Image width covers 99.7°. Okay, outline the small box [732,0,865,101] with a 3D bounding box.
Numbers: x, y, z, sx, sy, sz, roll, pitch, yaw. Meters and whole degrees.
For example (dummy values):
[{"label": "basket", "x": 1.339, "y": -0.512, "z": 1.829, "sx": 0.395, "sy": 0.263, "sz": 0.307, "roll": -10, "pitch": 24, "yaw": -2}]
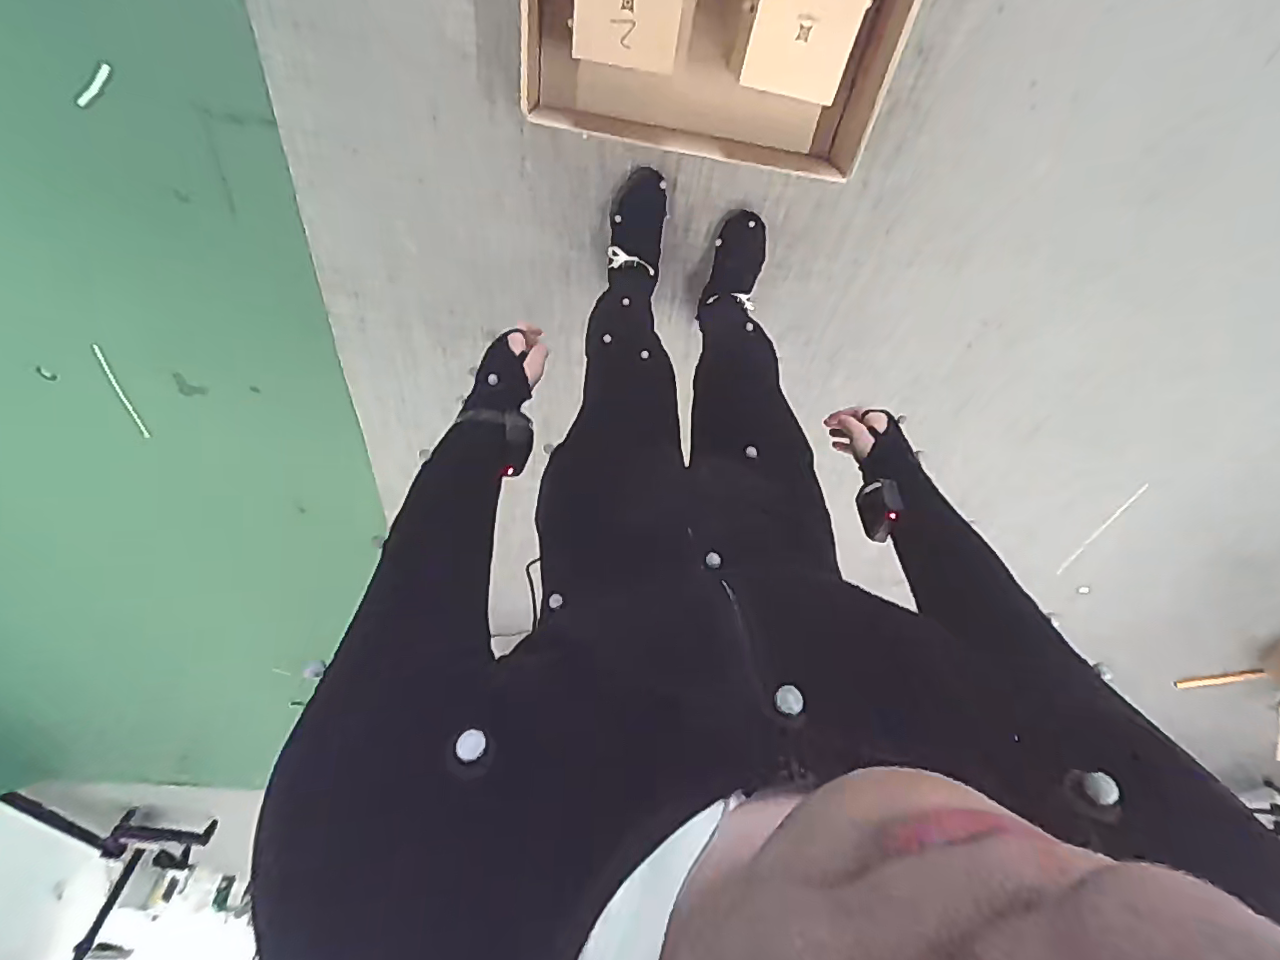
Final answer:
[{"label": "small box", "x": 0.257, "y": -0.766, "z": 0.902, "sx": 0.168, "sy": 0.176, "sz": 0.179, "roll": 9, "pitch": 132, "yaw": -7}]
